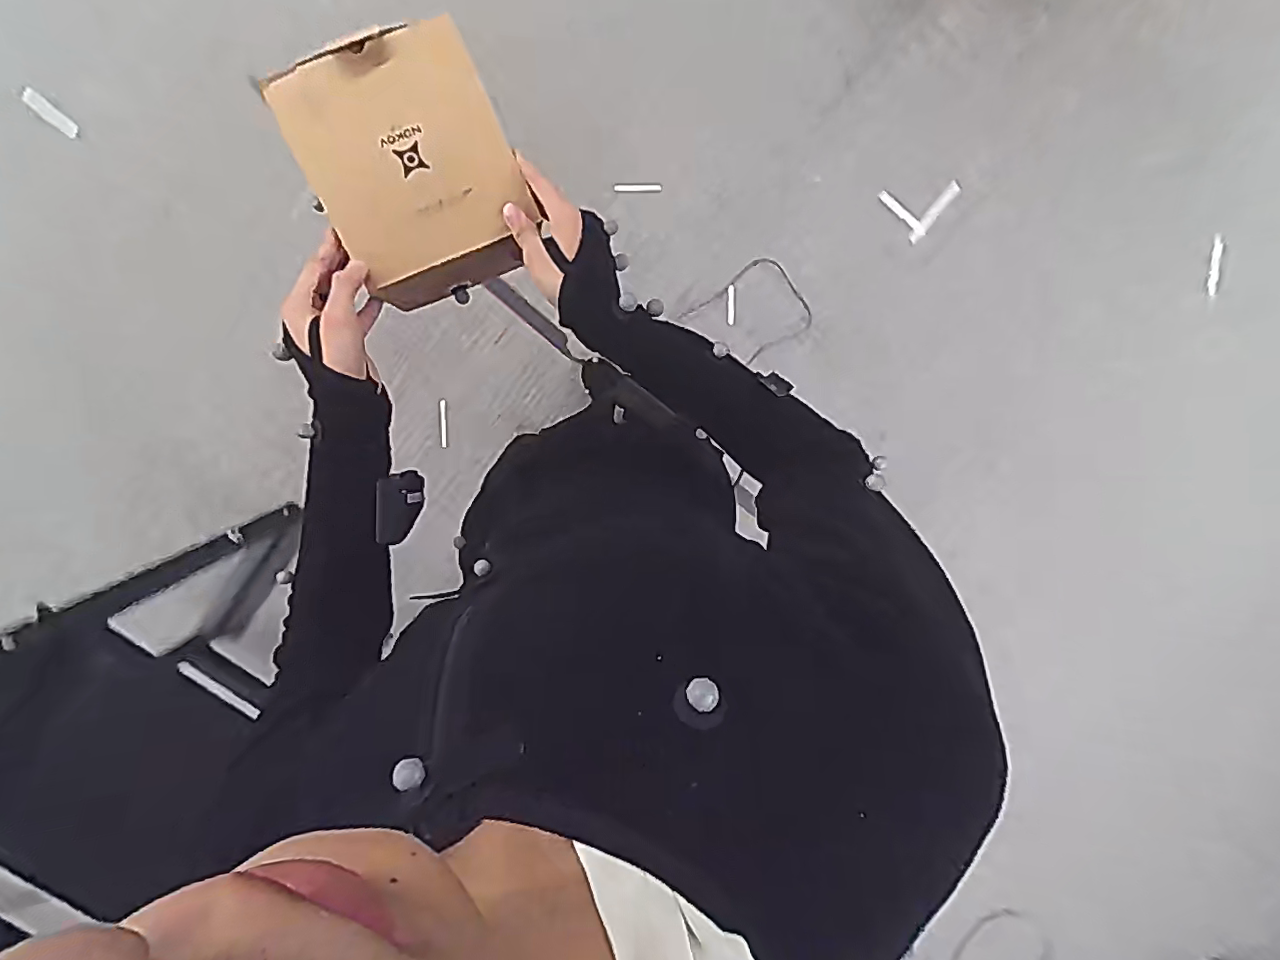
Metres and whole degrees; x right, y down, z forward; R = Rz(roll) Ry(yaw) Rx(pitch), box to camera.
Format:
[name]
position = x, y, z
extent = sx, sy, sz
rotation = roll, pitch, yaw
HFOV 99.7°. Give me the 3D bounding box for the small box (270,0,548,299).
[small box]
position = -0.201, -0.296, 0.523
extent = 0.168, 0.176, 0.179
rotation = -23, 104, -6
